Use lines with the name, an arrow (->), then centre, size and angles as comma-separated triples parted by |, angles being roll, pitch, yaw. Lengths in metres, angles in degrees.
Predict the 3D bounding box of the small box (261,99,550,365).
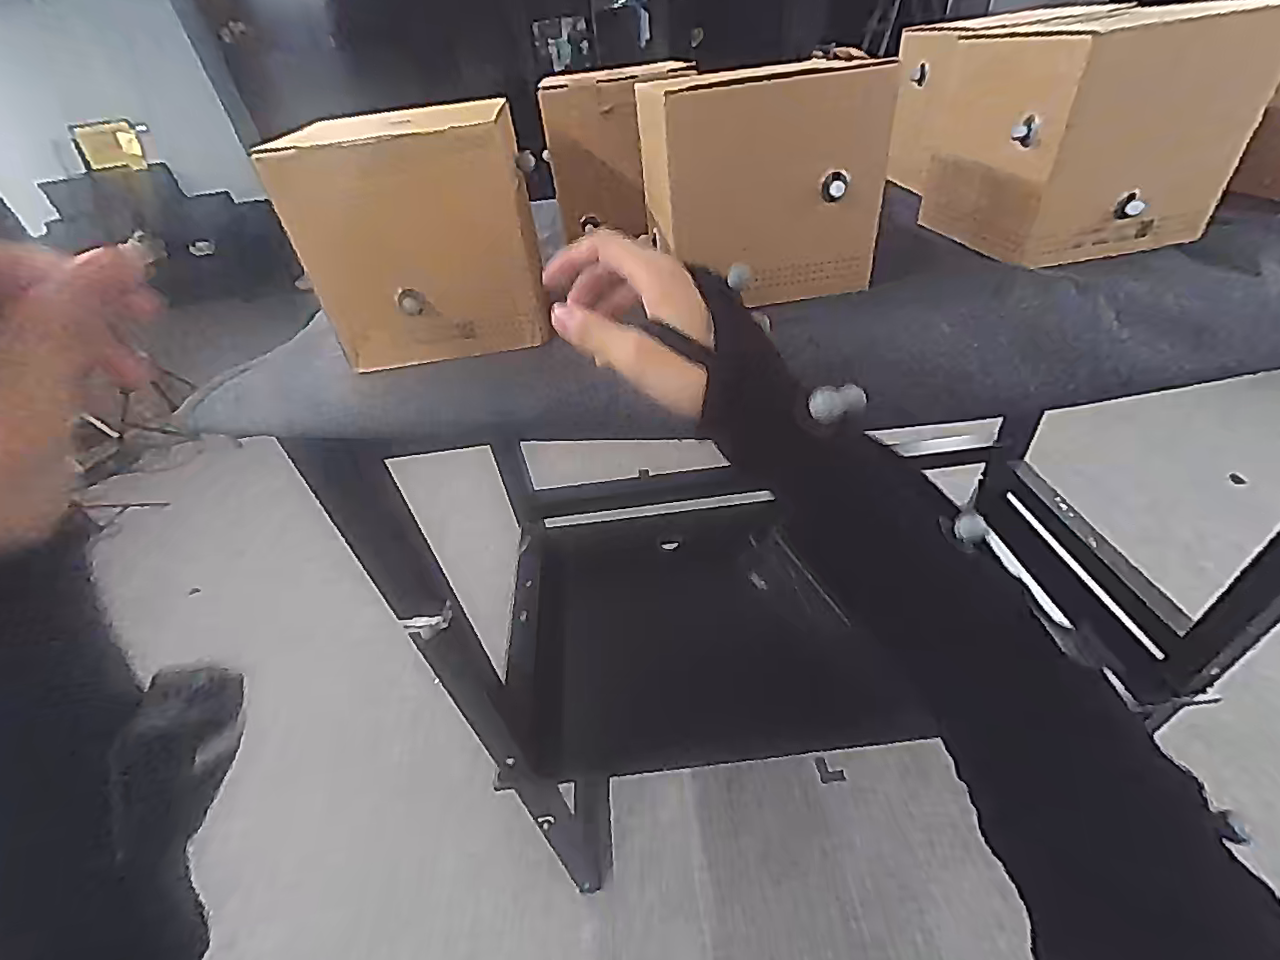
small box -> -0.178, -0.221, 0.478 | 0.168, 0.176, 0.179 | -10, 40, -3

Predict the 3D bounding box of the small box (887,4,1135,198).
small box -> 0.426, -0.458, 0.664 | 0.168, 0.176, 0.179 | -7, 39, 2

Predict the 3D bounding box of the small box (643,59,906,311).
small box -> 0.101, -0.268, 0.490 | 0.179, 0.176, 0.168 | -8, 37, -3

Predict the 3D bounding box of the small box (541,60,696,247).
small box -> -0.017, -0.396, 0.664 | 0.168, 0.176, 0.179 | -7, 39, 0
